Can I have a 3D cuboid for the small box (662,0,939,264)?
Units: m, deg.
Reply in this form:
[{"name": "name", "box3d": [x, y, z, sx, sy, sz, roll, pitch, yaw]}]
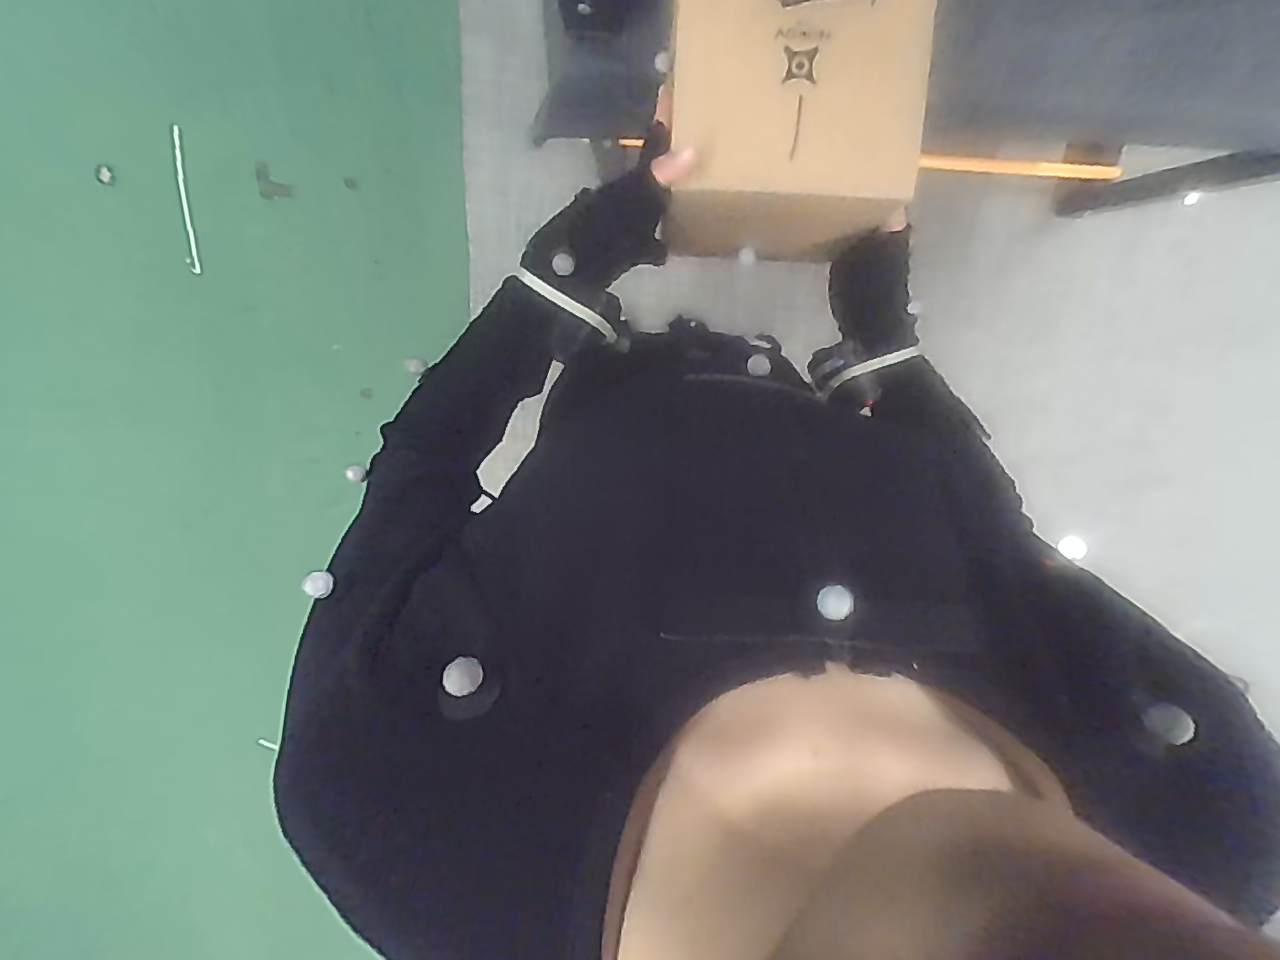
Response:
[{"name": "small box", "box3d": [0.105, -0.287, 0.425, 0.168, 0.176, 0.179, 3, 98, 0]}]
